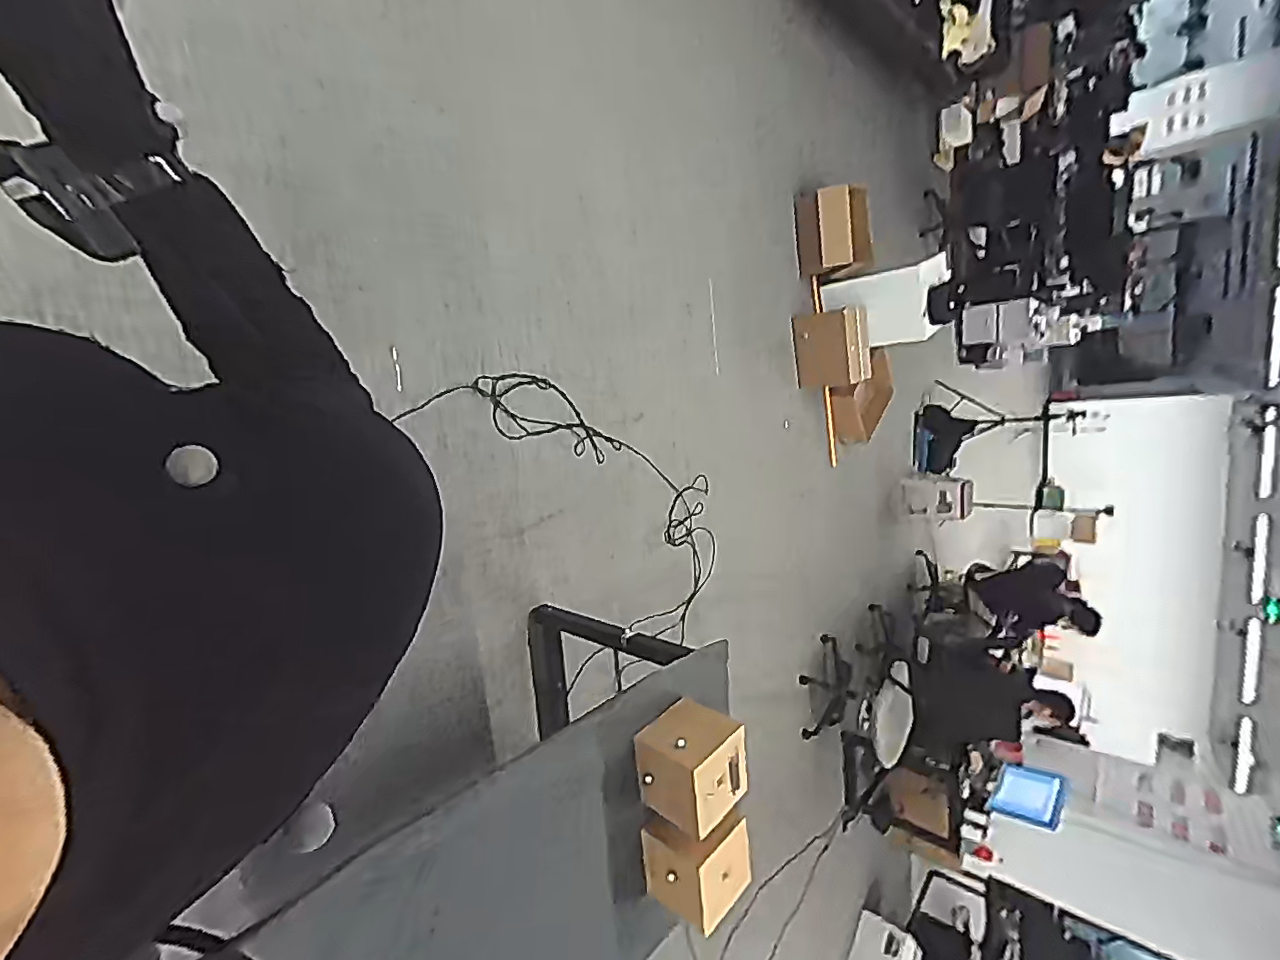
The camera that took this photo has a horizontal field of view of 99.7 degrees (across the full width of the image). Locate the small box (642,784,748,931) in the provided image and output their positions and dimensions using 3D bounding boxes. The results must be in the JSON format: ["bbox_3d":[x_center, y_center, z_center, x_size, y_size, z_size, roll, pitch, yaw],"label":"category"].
[{"bbox_3d":[0.118,0.826,1.205,0.179,0.176,0.168,-15,103,-46],"label":"small box"}]
